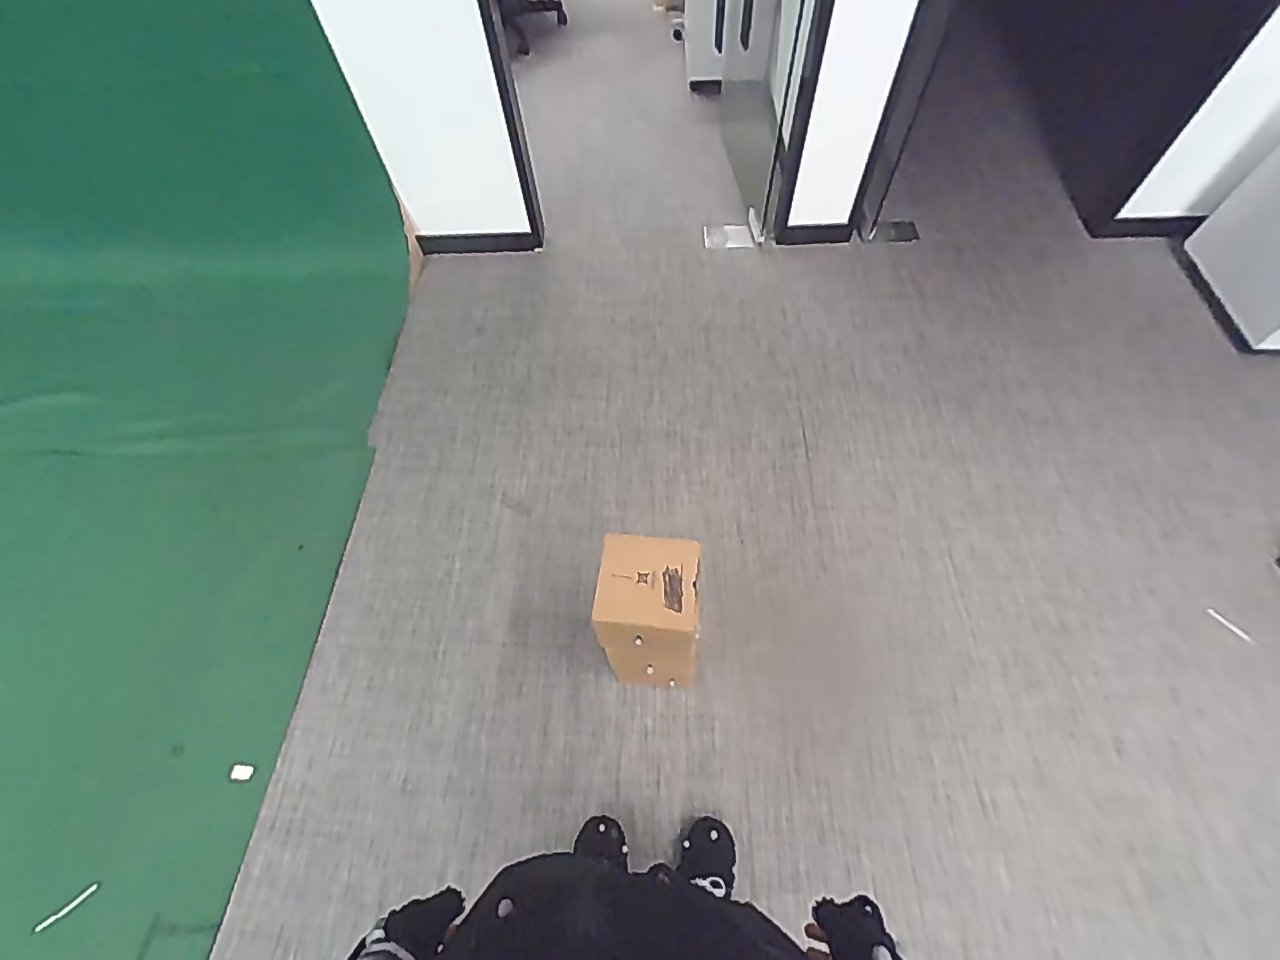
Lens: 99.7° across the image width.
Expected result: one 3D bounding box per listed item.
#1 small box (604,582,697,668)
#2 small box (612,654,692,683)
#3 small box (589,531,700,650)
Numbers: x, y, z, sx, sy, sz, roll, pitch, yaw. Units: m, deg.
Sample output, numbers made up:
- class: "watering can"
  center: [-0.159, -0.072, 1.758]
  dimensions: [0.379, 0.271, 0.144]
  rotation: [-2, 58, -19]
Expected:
- class: "small box"
  center: [0.025, 0.298, 1.155]
  dimensions: [0.179, 0.176, 0.168]
  rotation: [4, 59, 4]
- class: "small box"
  center: [0.035, 0.384, 1.294]
  dimensions: [0.179, 0.176, 0.168]
  rotation: [2, 59, 5]
- class: "small box"
  center: [0.015, 0.212, 1.015]
  dimensions: [0.179, 0.176, 0.168]
  rotation: [5, 60, 8]
